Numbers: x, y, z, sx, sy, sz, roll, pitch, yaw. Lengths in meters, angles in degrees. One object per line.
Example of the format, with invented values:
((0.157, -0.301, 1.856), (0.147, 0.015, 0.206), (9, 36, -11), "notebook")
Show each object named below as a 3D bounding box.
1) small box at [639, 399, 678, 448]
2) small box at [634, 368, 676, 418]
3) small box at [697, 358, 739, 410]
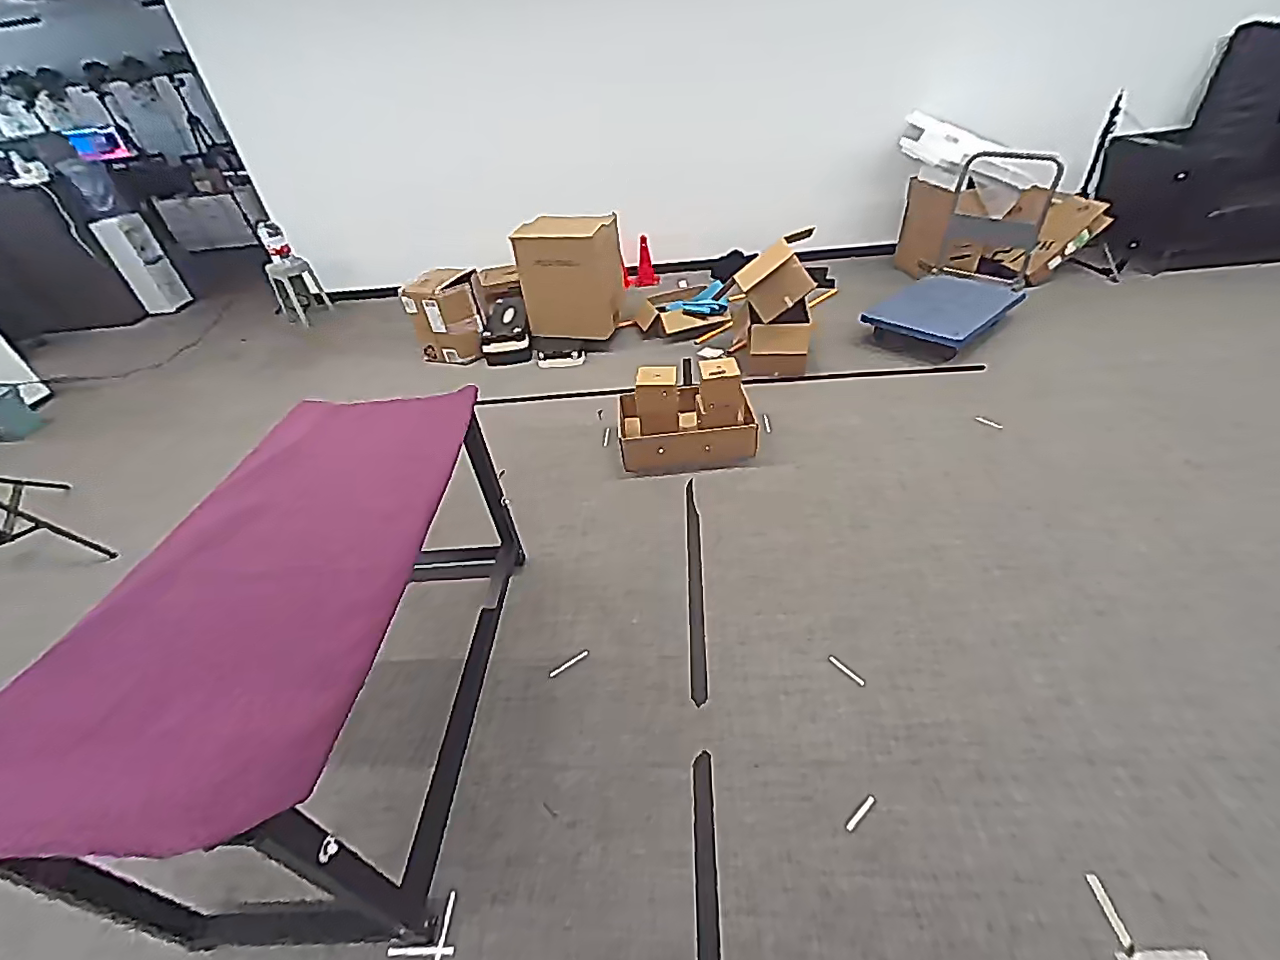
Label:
((0.091, -0.272, 2.551), (0.168, 0.176, 0.179), (2, 39, 8), "small box")
((0.073, -0.389, 2.434), (0.179, 0.176, 0.168), (0, 39, 7), "small box")
((0.351, -0.426, 2.434), (0.168, 0.176, 0.179), (-6, 37, 2), "small box")
